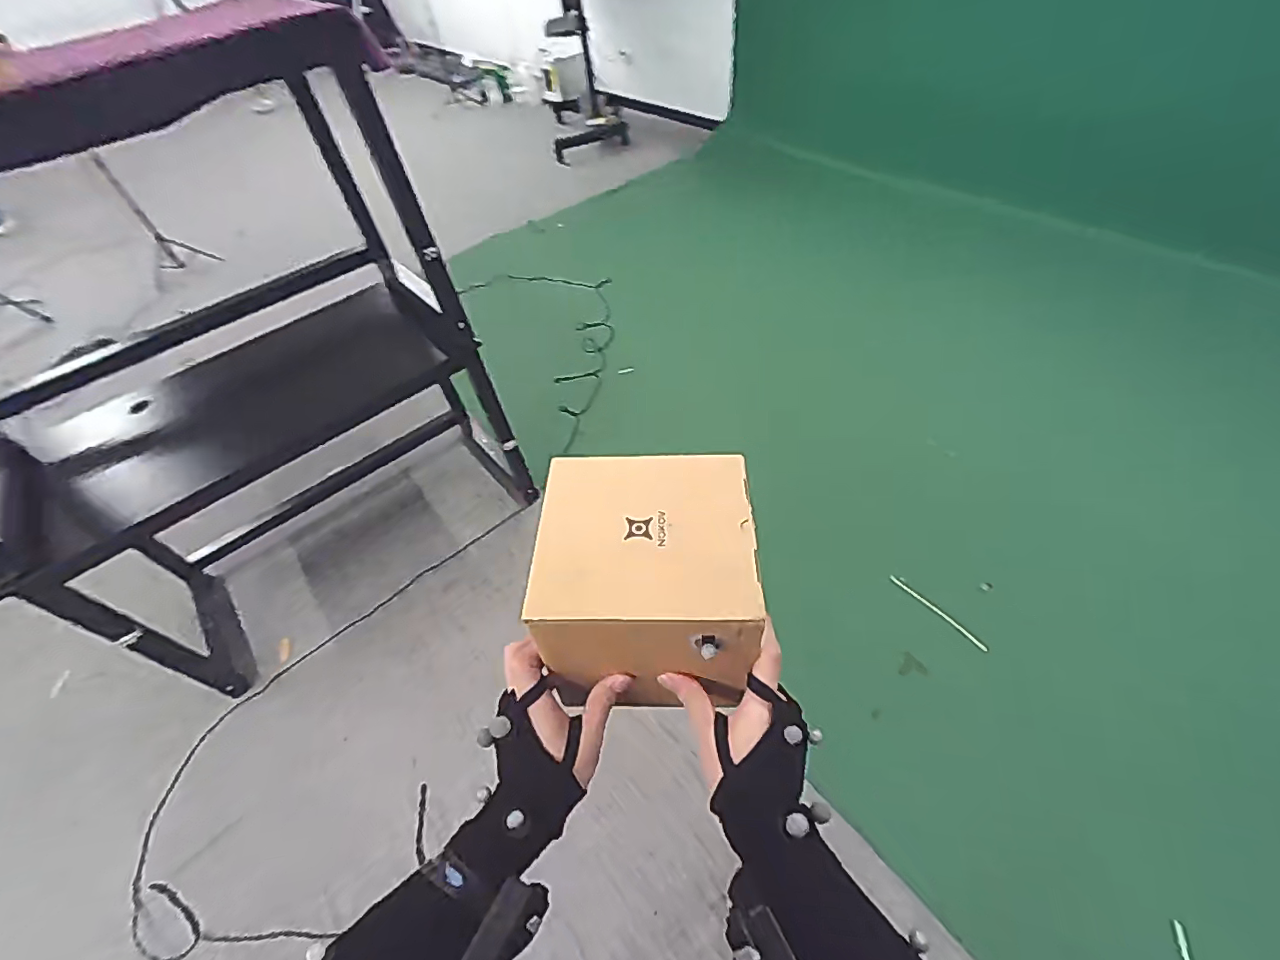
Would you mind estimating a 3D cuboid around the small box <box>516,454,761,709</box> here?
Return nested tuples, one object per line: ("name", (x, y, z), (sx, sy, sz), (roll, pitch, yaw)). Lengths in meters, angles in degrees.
("small box", (0.005, 0.093, 0.488), (0.179, 0.176, 0.168), (-1, 46, 3))
